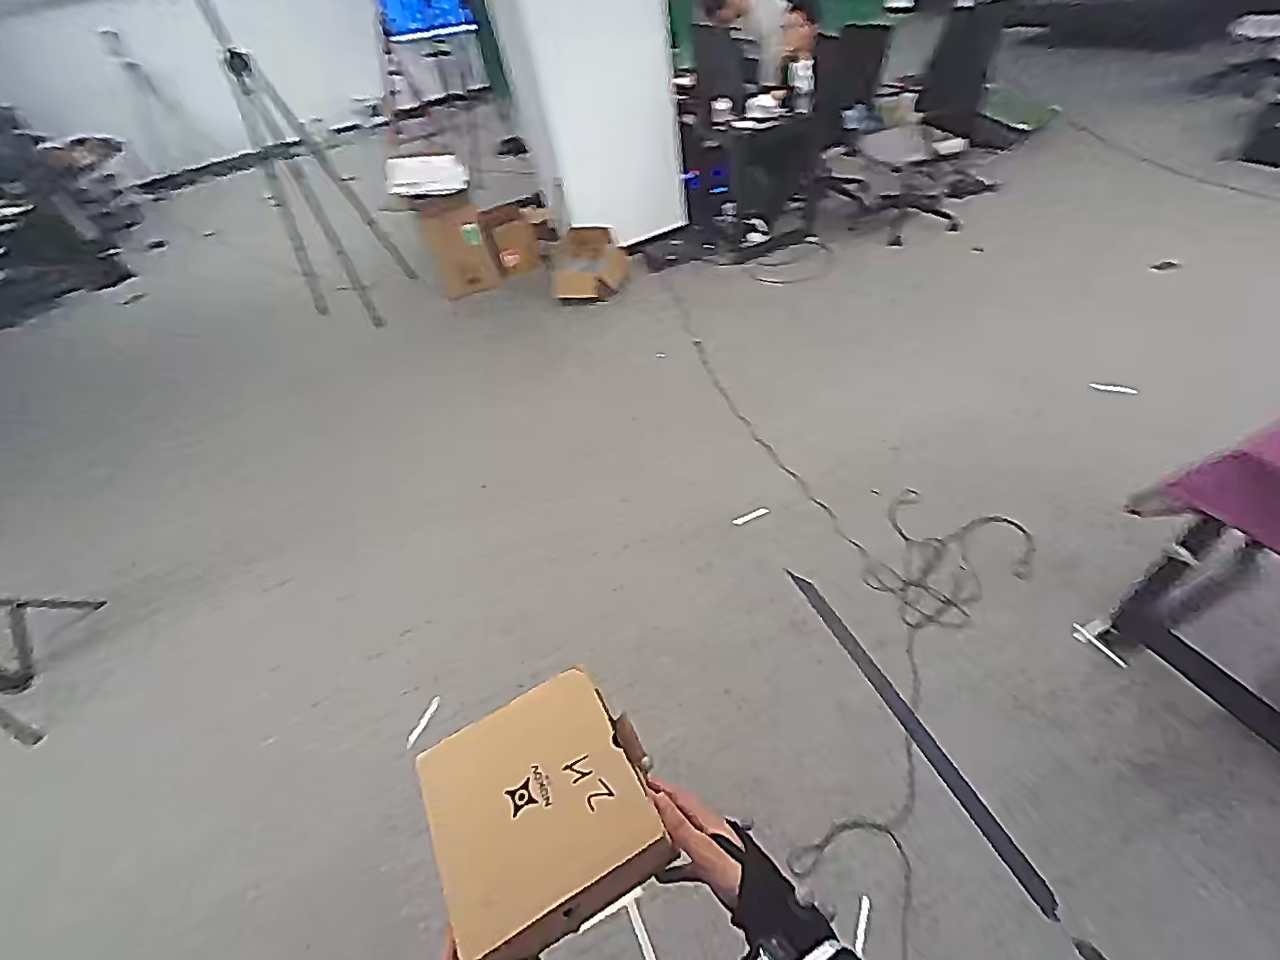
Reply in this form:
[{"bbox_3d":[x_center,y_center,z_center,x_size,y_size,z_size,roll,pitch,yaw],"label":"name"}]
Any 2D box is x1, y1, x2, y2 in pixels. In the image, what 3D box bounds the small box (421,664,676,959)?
[{"bbox_3d":[-0.080,0.320,0.525,0.179,0.176,0.168,-26,51,-13],"label":"small box"}]
